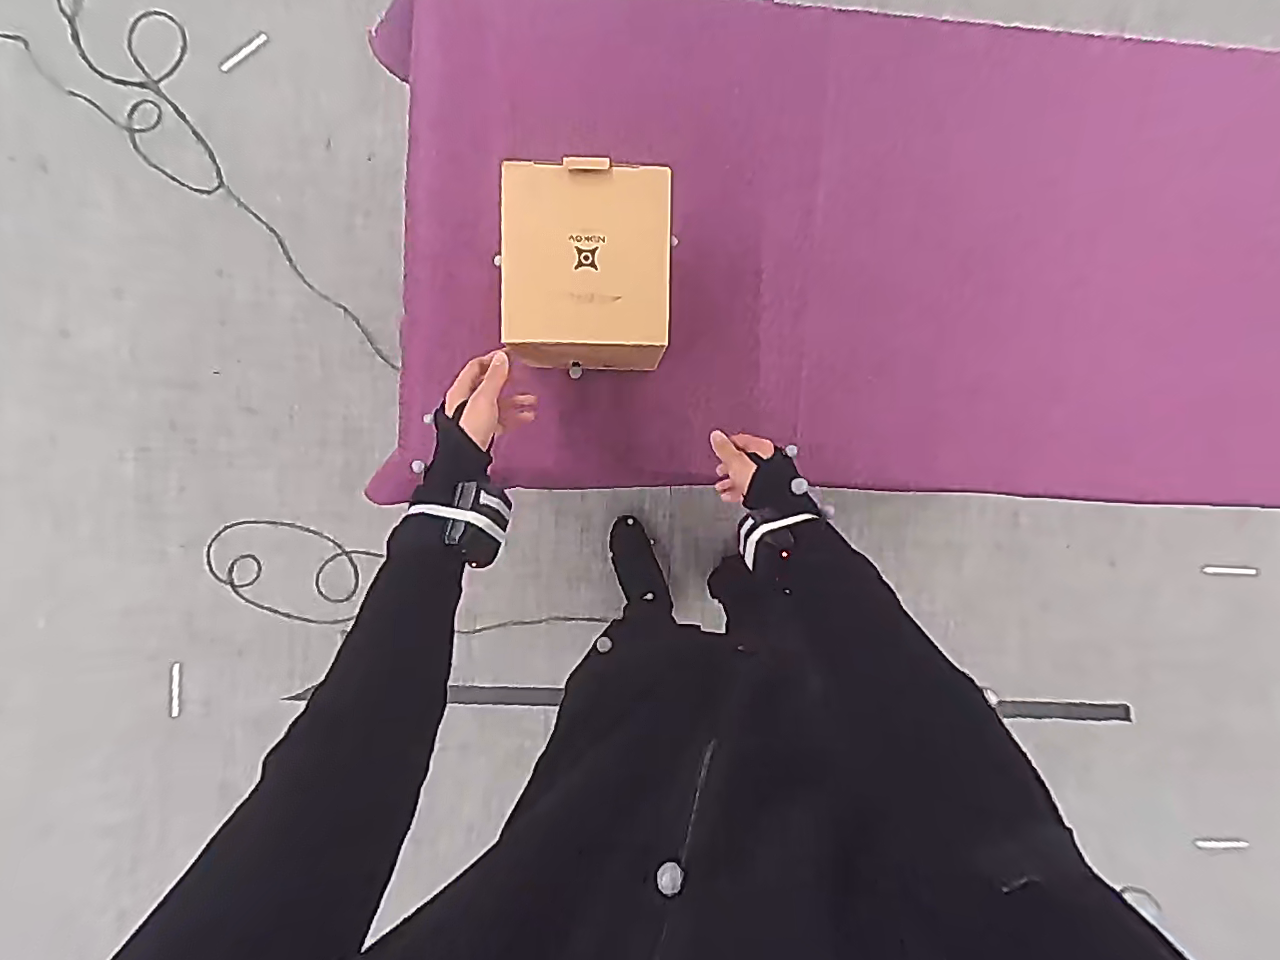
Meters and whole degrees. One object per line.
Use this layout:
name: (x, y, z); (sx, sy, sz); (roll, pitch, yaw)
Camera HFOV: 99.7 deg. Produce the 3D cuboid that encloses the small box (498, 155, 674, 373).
small box: (-0.056, -0.222, 0.599); (0.168, 0.176, 0.179); (2, 93, -3)
